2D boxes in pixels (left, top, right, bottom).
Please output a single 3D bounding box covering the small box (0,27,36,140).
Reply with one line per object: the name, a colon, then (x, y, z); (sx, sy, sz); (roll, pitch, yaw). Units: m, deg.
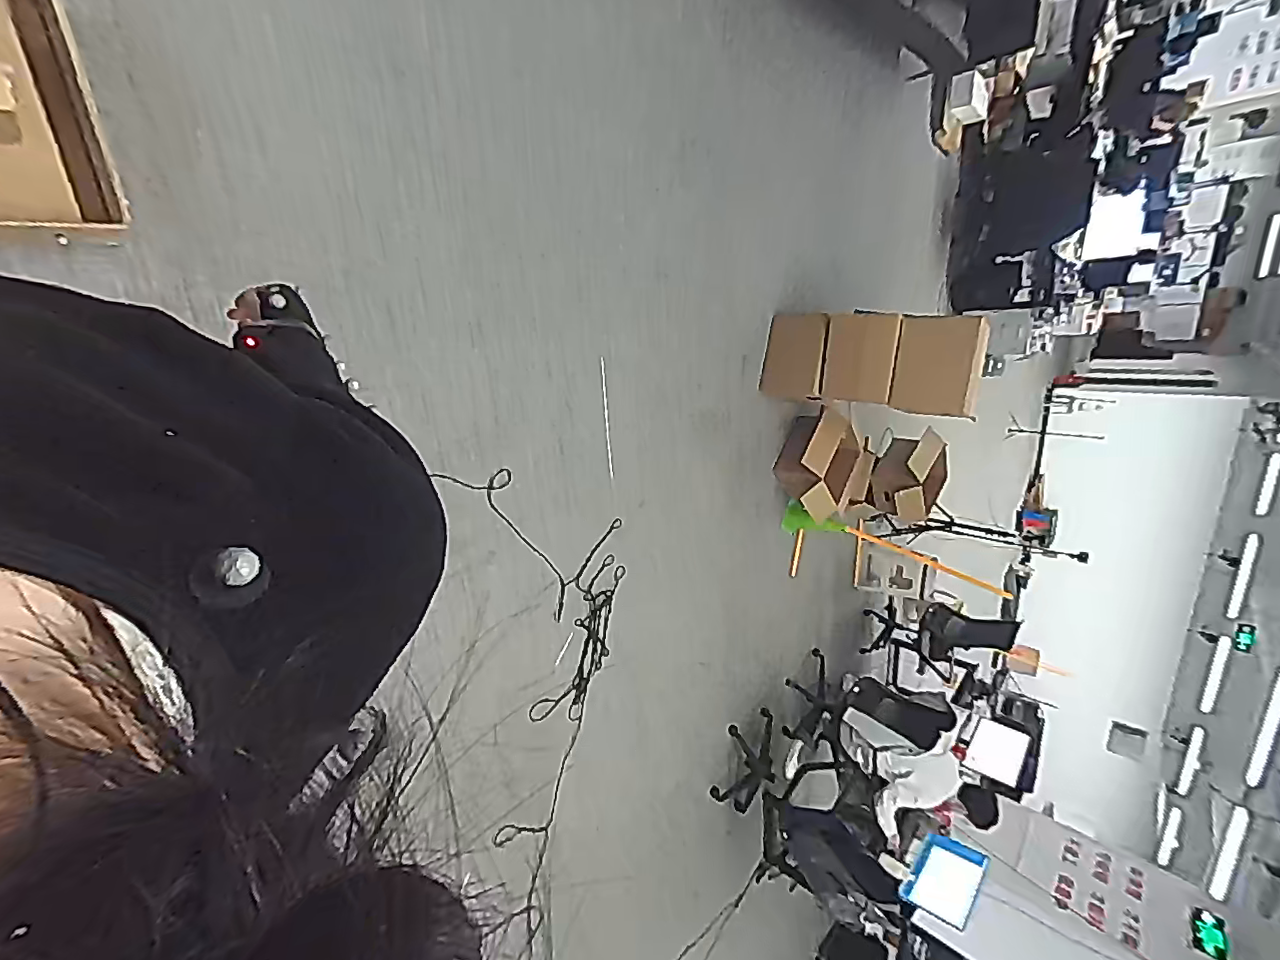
small box: (-0.949, -0.576, 0.710); (0.168, 0.176, 0.179); (-22, 115, -39)
